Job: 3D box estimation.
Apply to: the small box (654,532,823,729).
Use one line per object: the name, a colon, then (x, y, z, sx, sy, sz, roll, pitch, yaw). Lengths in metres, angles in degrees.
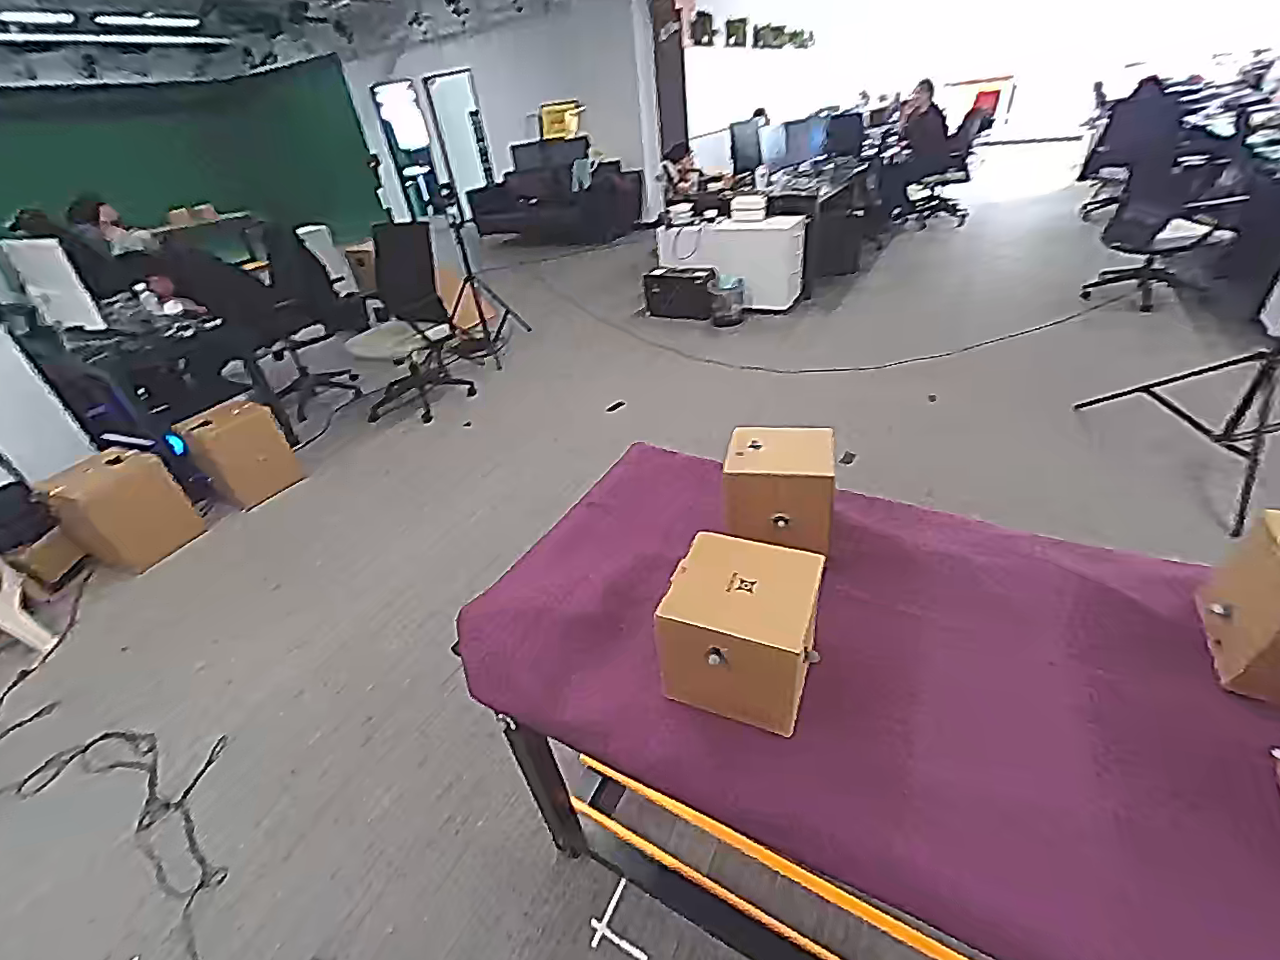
small box: (0.135, 0.198, 0.719, 0.179, 0.176, 0.168, 9, 37, 23)

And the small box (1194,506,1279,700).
small box: (0.817, 0.161, 0.634, 0.179, 0.176, 0.168, 13, 40, 27)
